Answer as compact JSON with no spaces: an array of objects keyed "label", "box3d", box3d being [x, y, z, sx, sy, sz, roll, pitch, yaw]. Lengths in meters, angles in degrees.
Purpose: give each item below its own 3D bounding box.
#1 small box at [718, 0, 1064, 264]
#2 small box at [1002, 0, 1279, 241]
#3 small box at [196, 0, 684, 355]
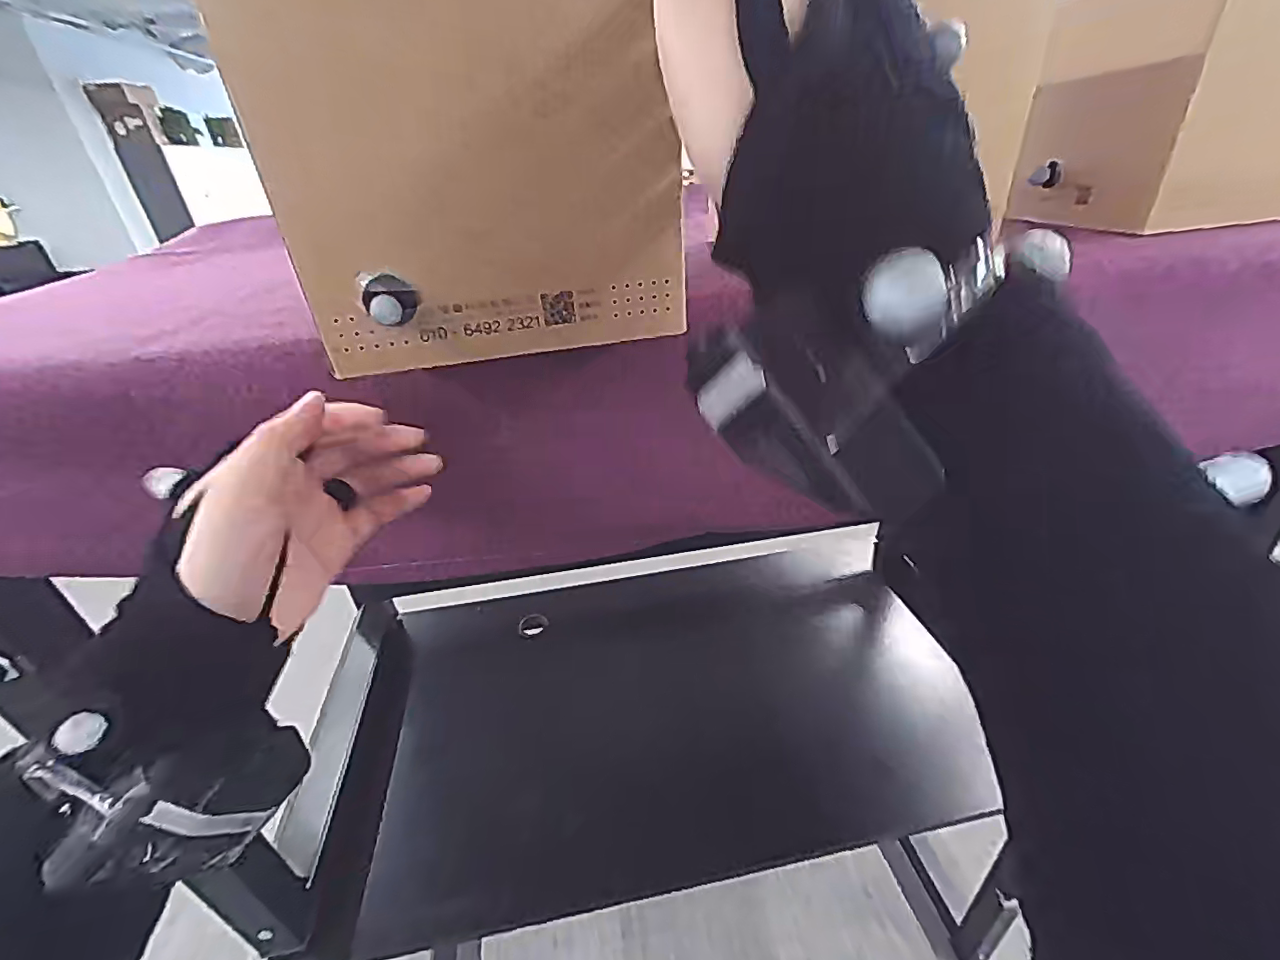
[{"label":"small box","box3d":[0.161,-0.267,0.412,0.168,0.176,0.179,-9,31,-8]},{"label":"small box","box3d":[0.440,-0.298,0.434,0.179,0.176,0.168,-8,30,-4]},{"label":"small box","box3d":[-0.077,-0.169,0.278,0.168,0.176,0.179,-10,31,-9]}]
